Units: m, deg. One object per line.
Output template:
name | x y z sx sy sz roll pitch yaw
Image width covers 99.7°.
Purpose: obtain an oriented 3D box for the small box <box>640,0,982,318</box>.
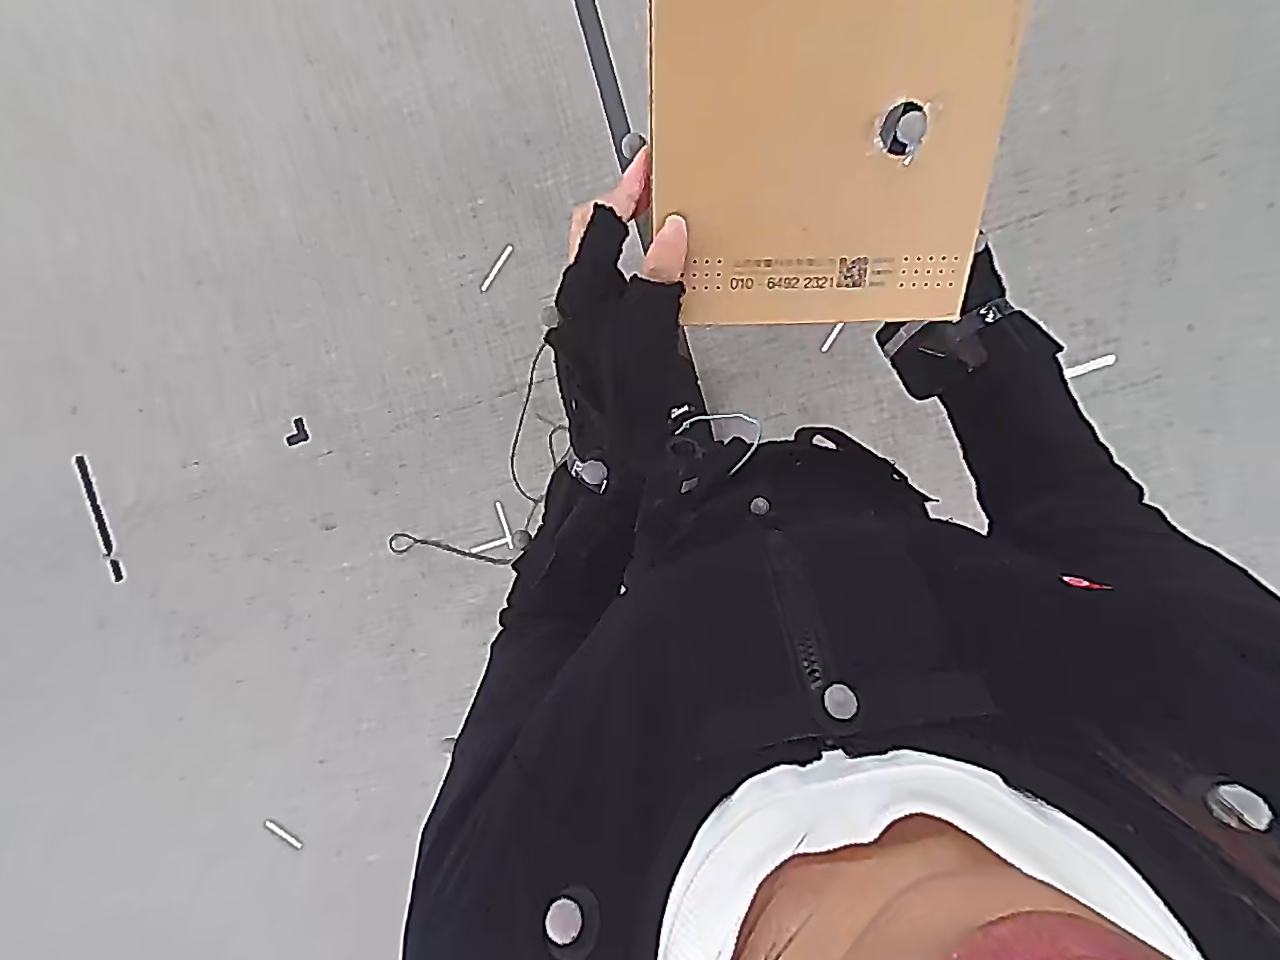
small box | 0.087 -0.203 0.352 0.168 0.179 0.176 0 116 2
